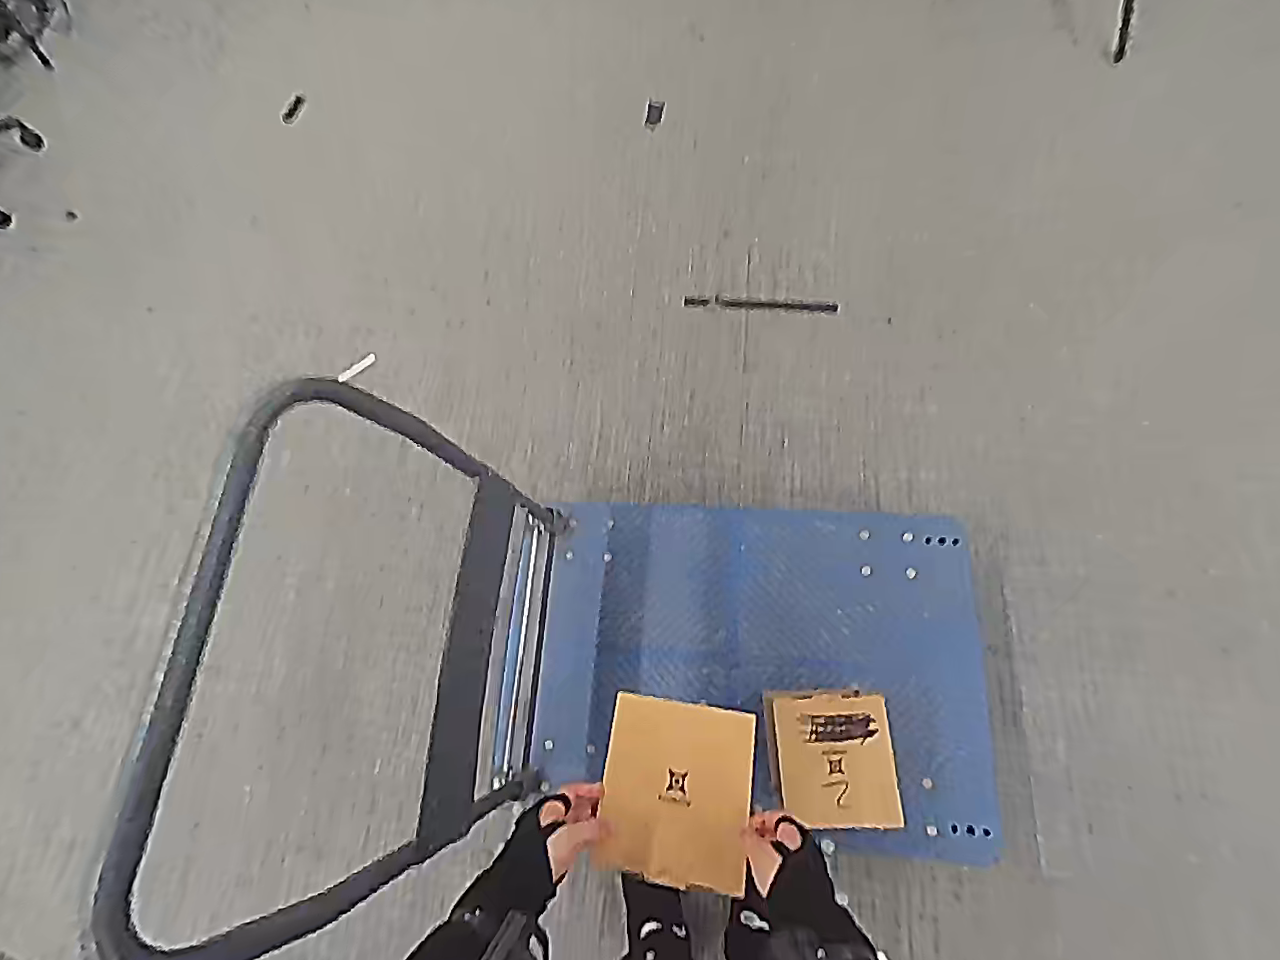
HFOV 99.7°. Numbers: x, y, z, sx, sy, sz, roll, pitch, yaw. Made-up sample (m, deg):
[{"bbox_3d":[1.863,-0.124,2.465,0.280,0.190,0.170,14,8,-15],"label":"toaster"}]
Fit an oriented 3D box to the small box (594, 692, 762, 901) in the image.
[{"bbox_3d":[0.048,0.370,0.656,0.168,0.176,0.179,7,64,6],"label":"small box"}]
